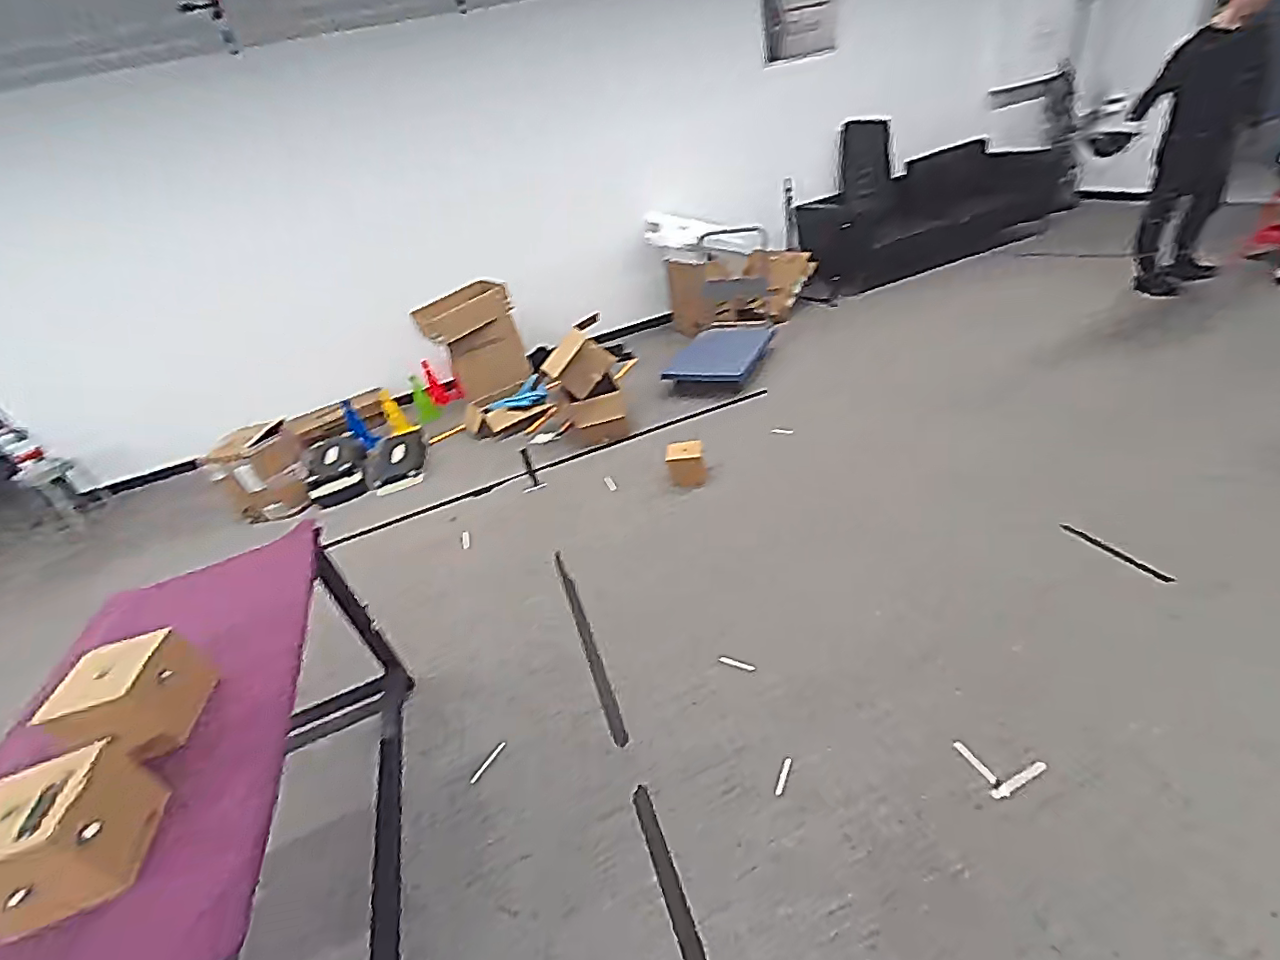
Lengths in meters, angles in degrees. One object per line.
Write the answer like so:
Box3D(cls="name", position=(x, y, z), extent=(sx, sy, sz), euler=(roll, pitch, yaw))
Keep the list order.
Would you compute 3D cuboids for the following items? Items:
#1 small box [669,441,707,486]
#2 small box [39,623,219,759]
Box3D(cls="small box", position=(0.253, -0.081, 2.811), extent=(0.179, 0.176, 0.168), euler=(-6, 32, 10))
Box3D(cls="small box", position=(-1.000, 0.426, 1.083), extent=(0.168, 0.176, 0.179), euler=(-16, 32, -5))
